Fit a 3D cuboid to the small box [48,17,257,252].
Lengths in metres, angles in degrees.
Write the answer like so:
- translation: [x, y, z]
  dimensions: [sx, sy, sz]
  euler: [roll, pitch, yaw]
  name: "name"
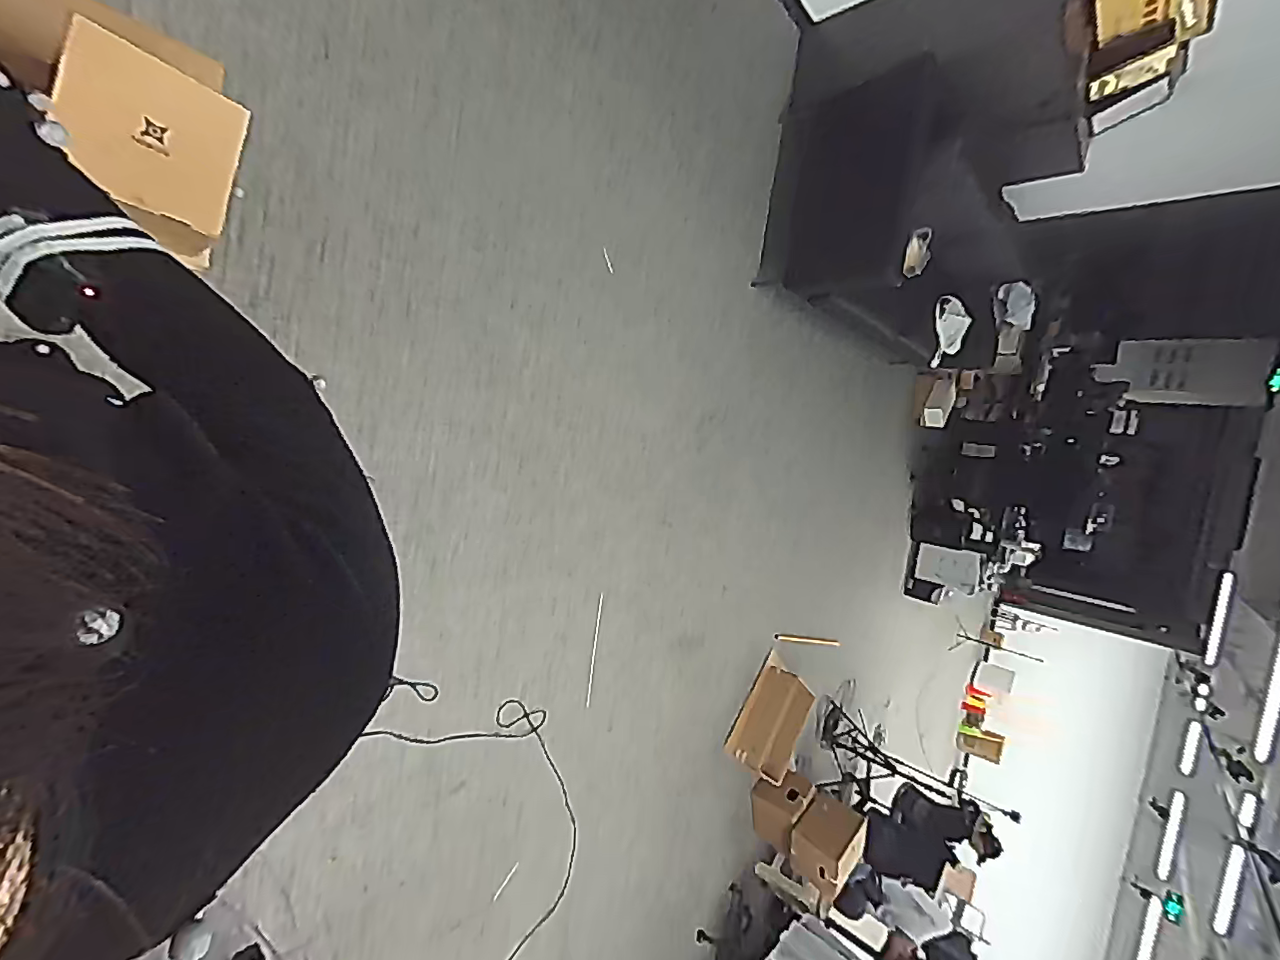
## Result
- translation: [-0.631, -0.423, 0.701]
  dimensions: [0.168, 0.176, 0.179]
  euler: [13, 89, -47]
  name: "small box"
